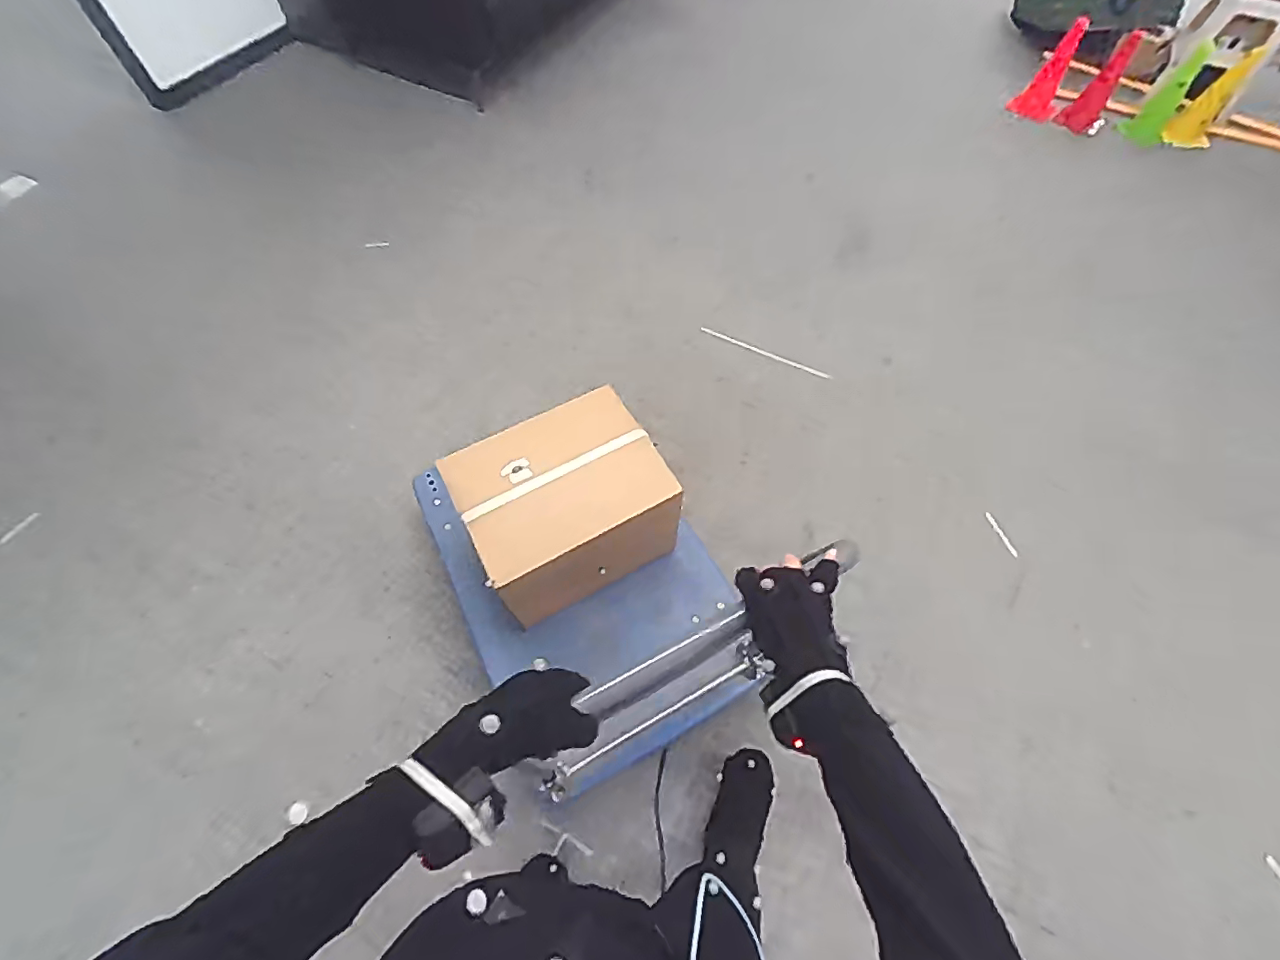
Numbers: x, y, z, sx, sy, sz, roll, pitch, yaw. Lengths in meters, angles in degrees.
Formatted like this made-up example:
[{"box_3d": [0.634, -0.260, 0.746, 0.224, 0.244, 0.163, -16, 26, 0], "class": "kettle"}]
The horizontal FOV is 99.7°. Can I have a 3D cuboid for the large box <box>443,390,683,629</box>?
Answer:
[{"box_3d": [-0.156, 0.073, 1.219, 0.408, 0.320, 0.320, -28, 64, -14], "class": "large box"}]
